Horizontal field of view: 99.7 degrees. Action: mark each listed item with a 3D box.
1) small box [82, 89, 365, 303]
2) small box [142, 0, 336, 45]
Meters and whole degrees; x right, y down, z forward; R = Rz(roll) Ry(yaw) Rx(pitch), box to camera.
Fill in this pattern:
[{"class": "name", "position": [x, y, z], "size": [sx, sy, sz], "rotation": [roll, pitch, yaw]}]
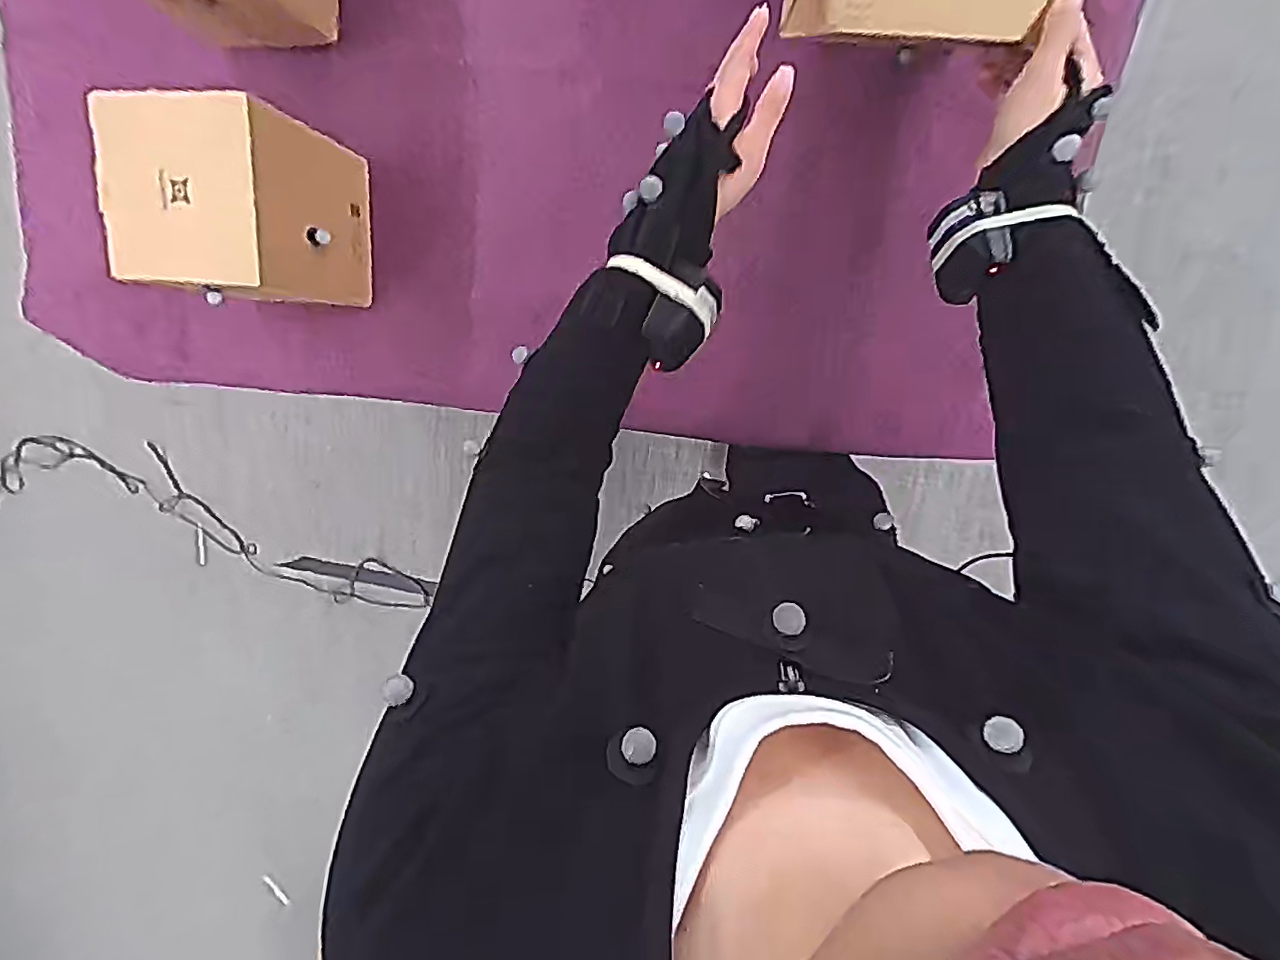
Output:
[{"class": "small box", "position": [-0.418, -0.286, 0.577], "size": [0.179, 0.176, 0.168], "rotation": [6, 103, 10]}, {"class": "small box", "position": [-0.419, -0.552, 0.506], "size": [0.179, 0.168, 0.176], "rotation": [12, 103, 16]}]
